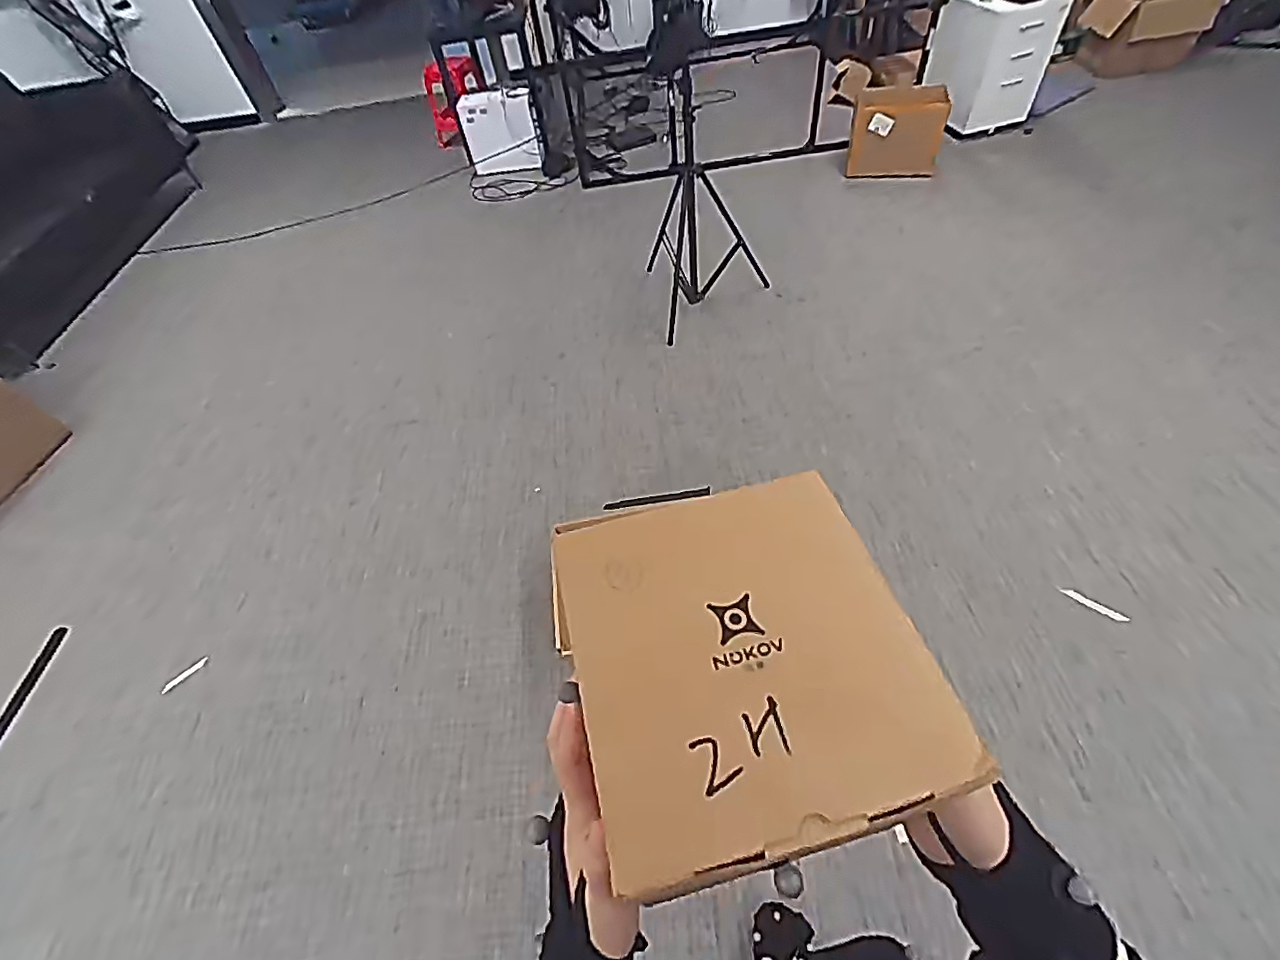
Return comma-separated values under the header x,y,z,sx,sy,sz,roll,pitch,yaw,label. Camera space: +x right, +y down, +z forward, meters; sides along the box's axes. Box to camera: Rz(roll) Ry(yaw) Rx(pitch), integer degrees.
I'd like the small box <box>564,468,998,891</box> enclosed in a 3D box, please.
x,y,z,sx,sy,sz,roll,pitch,yaw,label
0.058,0.124,0.332,0.168,0.176,0.179,-14,52,-6,small box
